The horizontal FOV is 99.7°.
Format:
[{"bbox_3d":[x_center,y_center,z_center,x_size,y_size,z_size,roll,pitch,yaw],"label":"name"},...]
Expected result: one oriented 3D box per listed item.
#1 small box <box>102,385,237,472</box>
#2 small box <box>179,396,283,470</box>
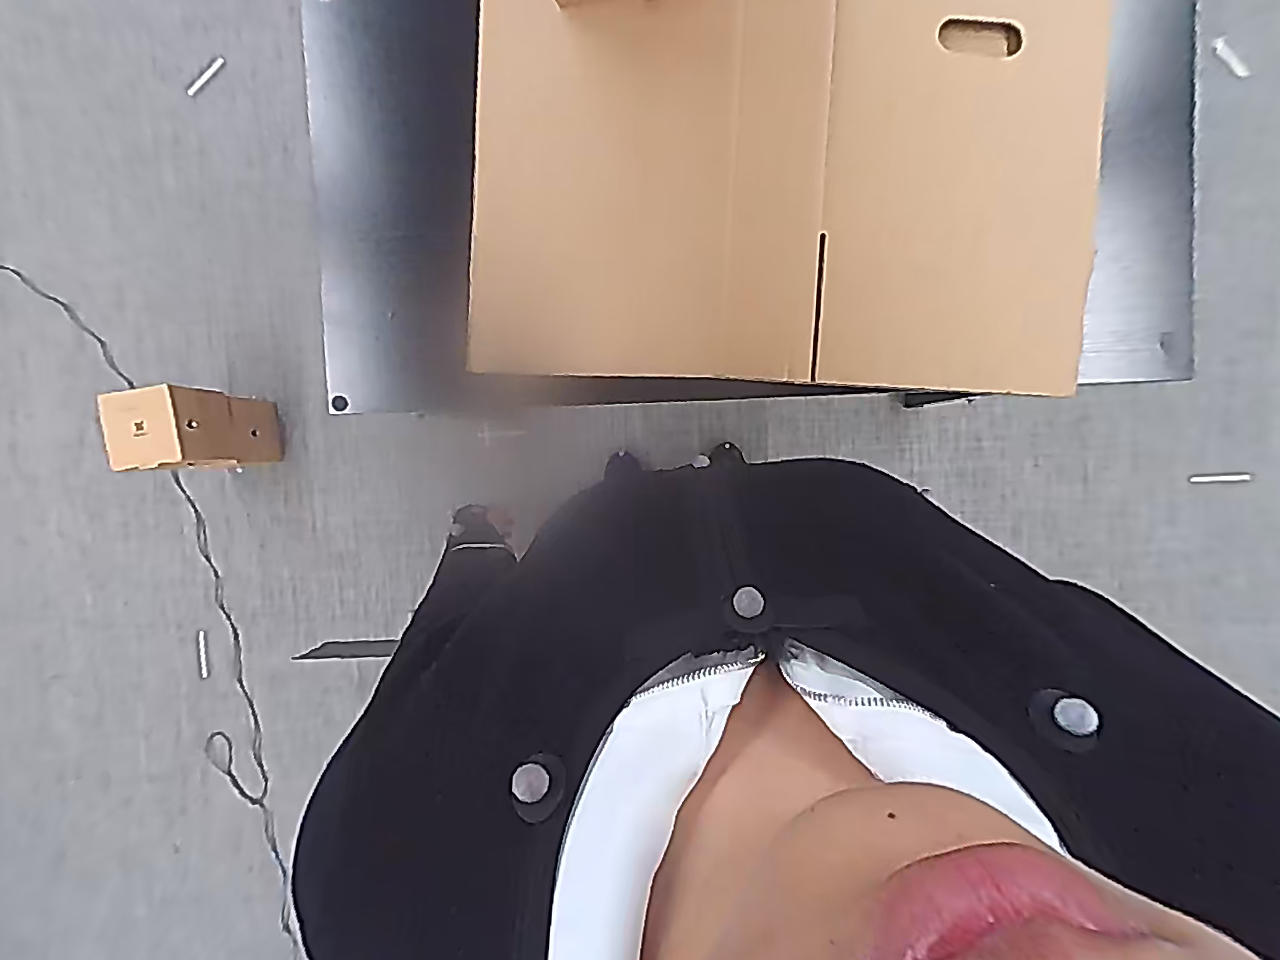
[{"bbox_3d":[-1.104,-0.120,1.285,0.168,0.176,0.179,-9,92,1],"label":"small box"},{"bbox_3d":[-1.099,-0.123,1.448,0.168,0.176,0.179,-6,94,2],"label":"small box"}]
